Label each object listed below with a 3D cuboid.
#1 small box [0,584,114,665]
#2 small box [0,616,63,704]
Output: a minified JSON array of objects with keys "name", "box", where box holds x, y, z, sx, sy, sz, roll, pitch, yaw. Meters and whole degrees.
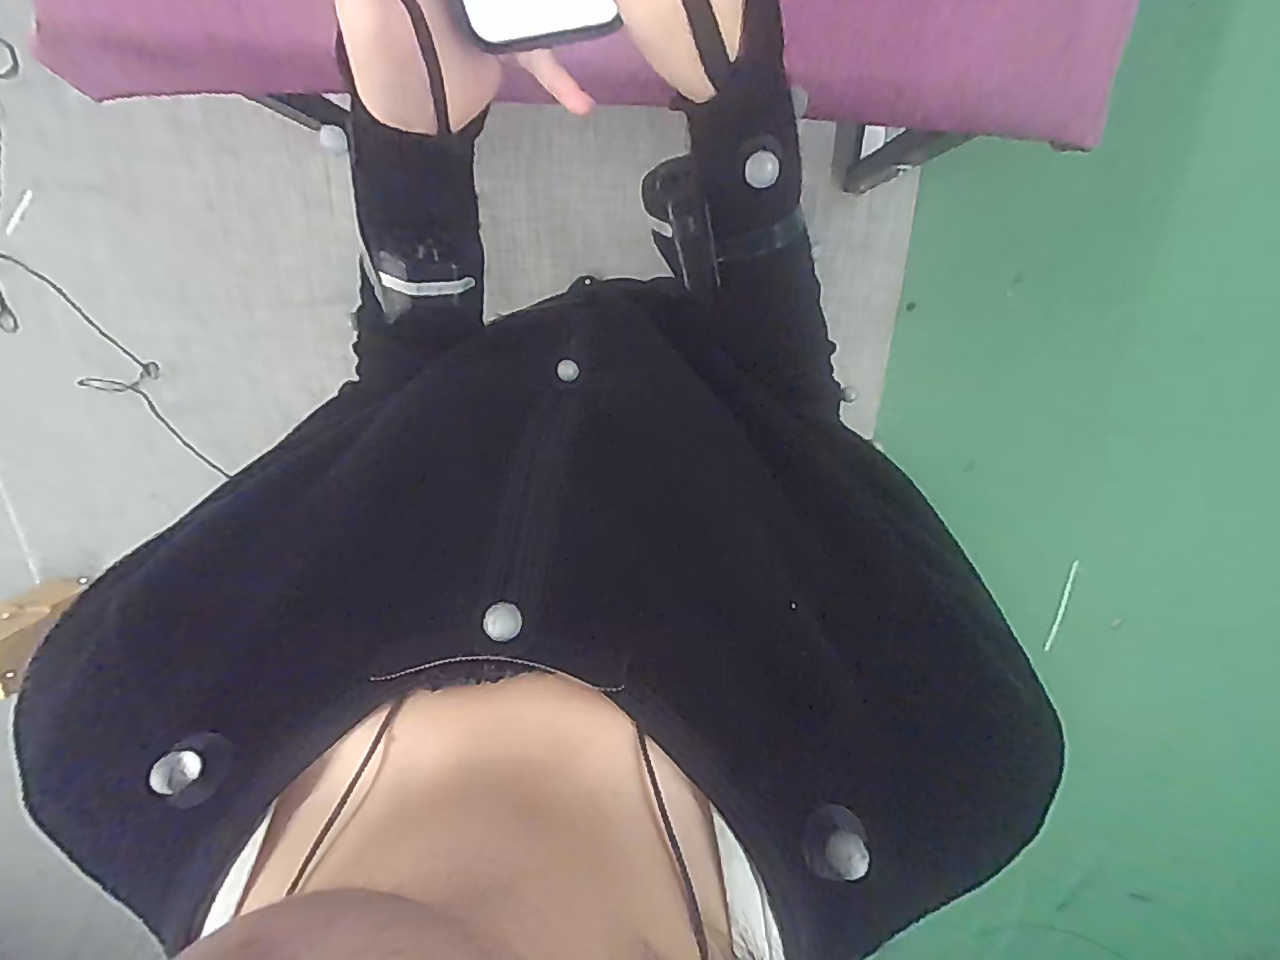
[{"name":"small box","box":[-1.748,0.426,1.618,0.168,0.176,0.179,2,109,1]},{"name":"small box","box":[-1.751,0.484,1.465,0.179,0.176,0.168,3,109,1]}]
